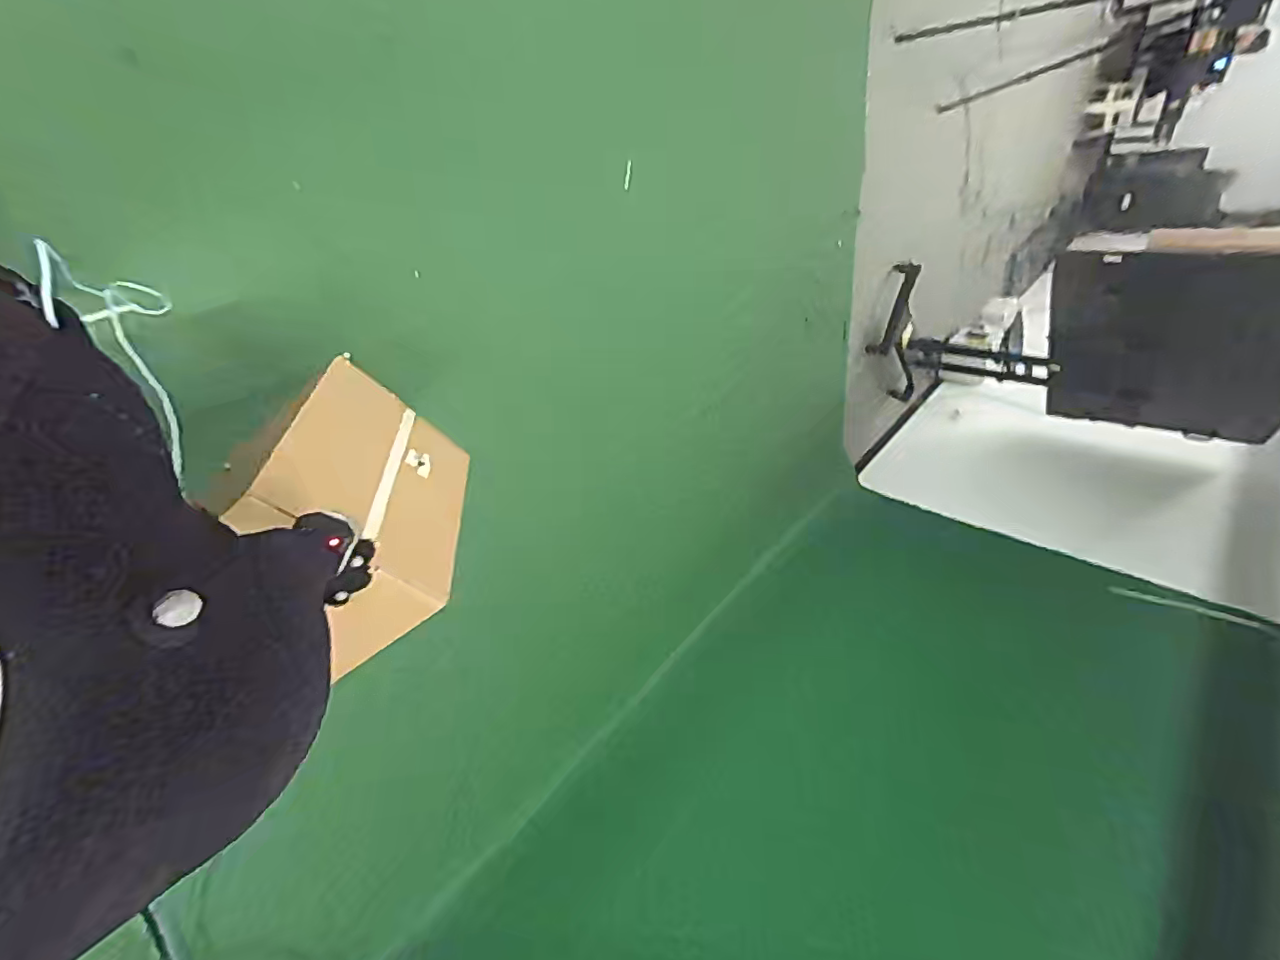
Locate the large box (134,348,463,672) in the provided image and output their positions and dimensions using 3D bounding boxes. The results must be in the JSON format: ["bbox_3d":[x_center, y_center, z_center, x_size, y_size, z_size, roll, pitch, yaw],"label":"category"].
[{"bbox_3d":[-0.546,0.050,0.951,0.320,0.408,0.320,-35,127,15],"label":"large box"}]
